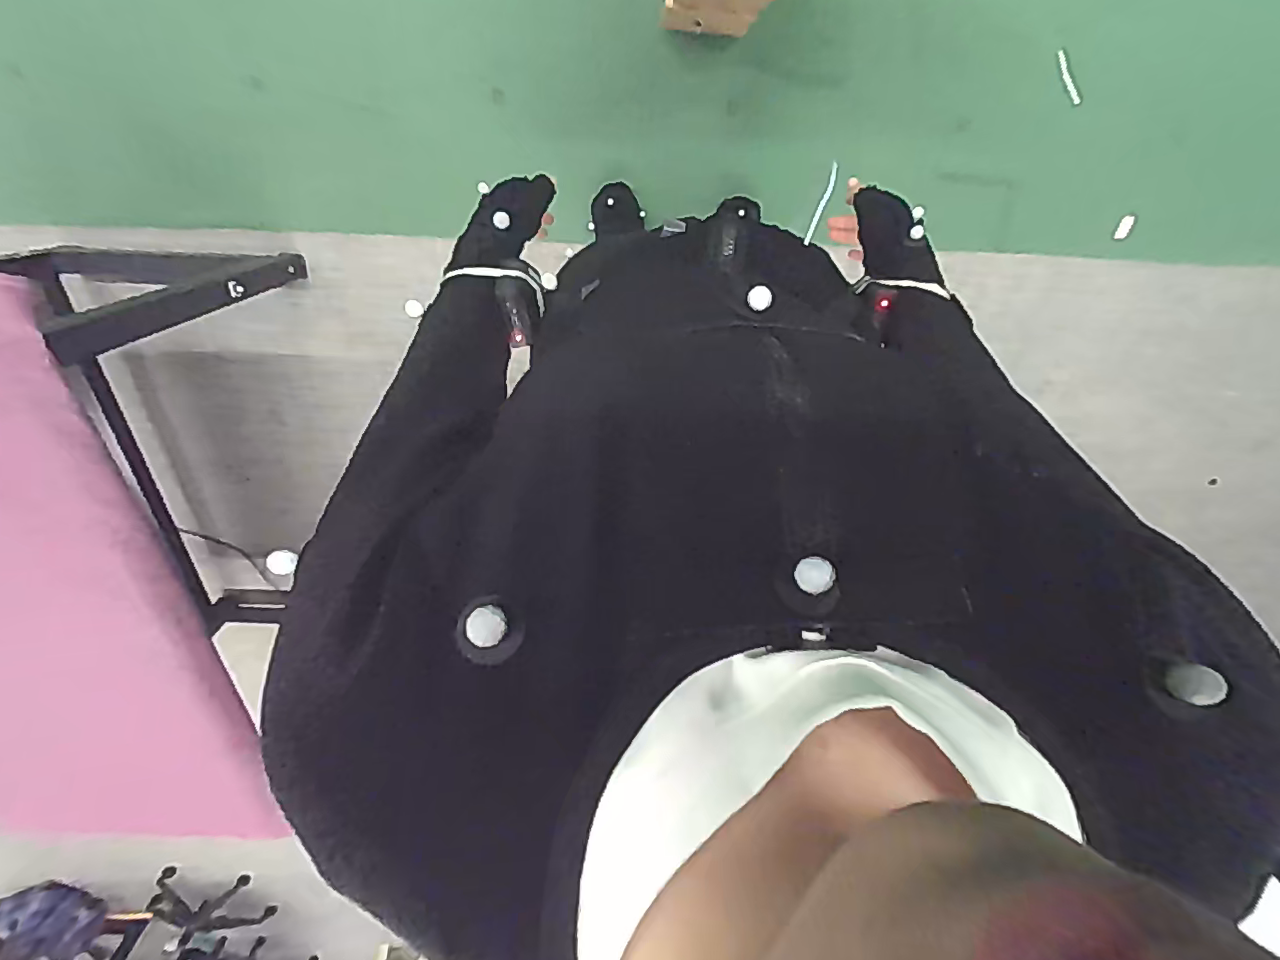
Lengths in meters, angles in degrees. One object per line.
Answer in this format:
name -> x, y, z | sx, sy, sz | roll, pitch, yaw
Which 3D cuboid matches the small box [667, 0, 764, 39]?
small box -> 0.140, -0.931, 0.975 | 0.168, 0.176, 0.179 | 4, 121, -2
